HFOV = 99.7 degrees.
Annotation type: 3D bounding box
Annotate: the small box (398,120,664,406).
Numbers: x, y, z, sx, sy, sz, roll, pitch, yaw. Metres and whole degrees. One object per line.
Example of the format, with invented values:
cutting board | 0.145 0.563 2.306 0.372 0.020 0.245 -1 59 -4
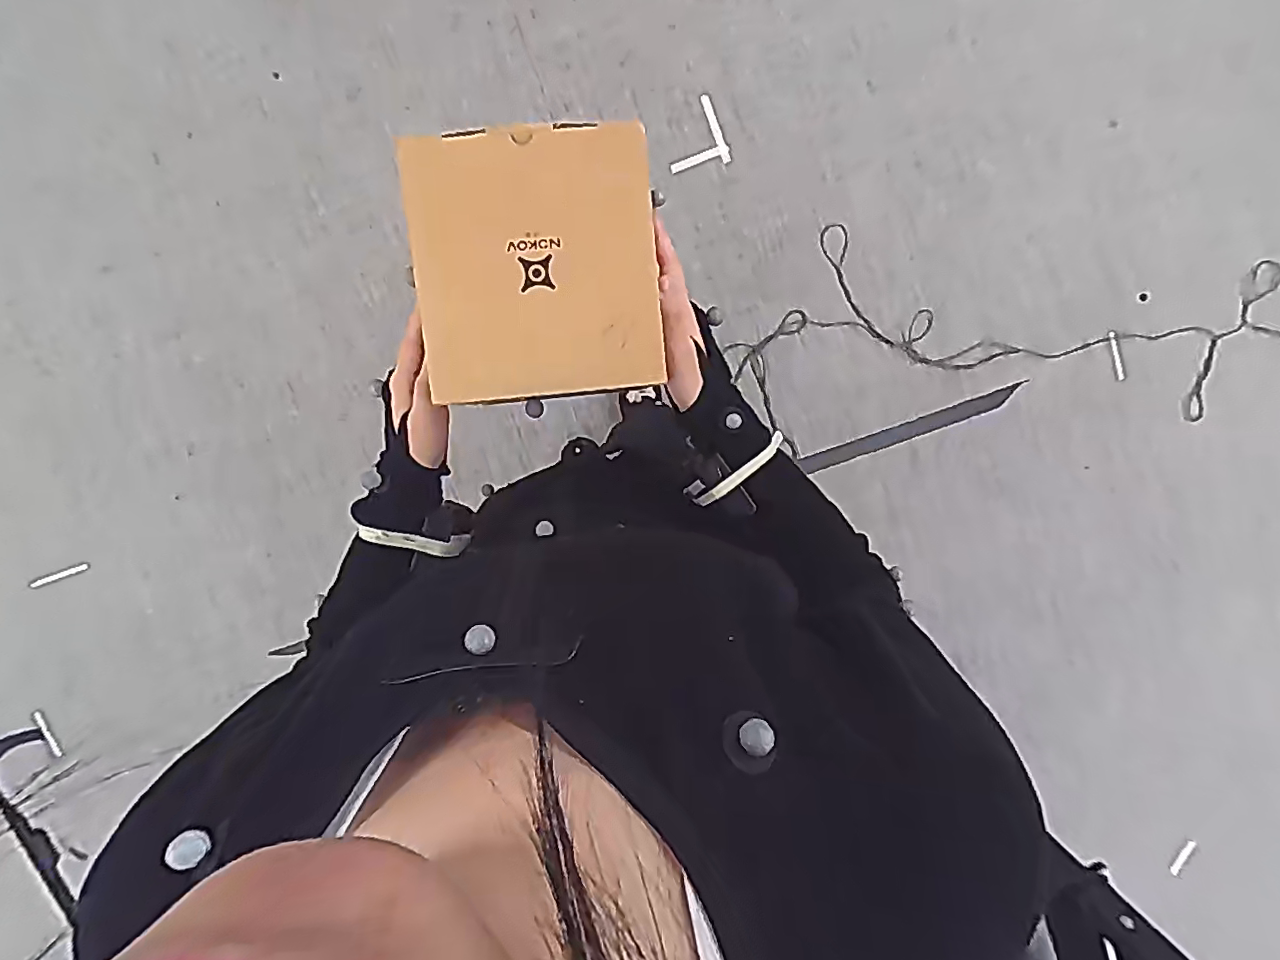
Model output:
small box | -0.074 -0.156 0.445 0.168 0.176 0.179 -6 98 -3
